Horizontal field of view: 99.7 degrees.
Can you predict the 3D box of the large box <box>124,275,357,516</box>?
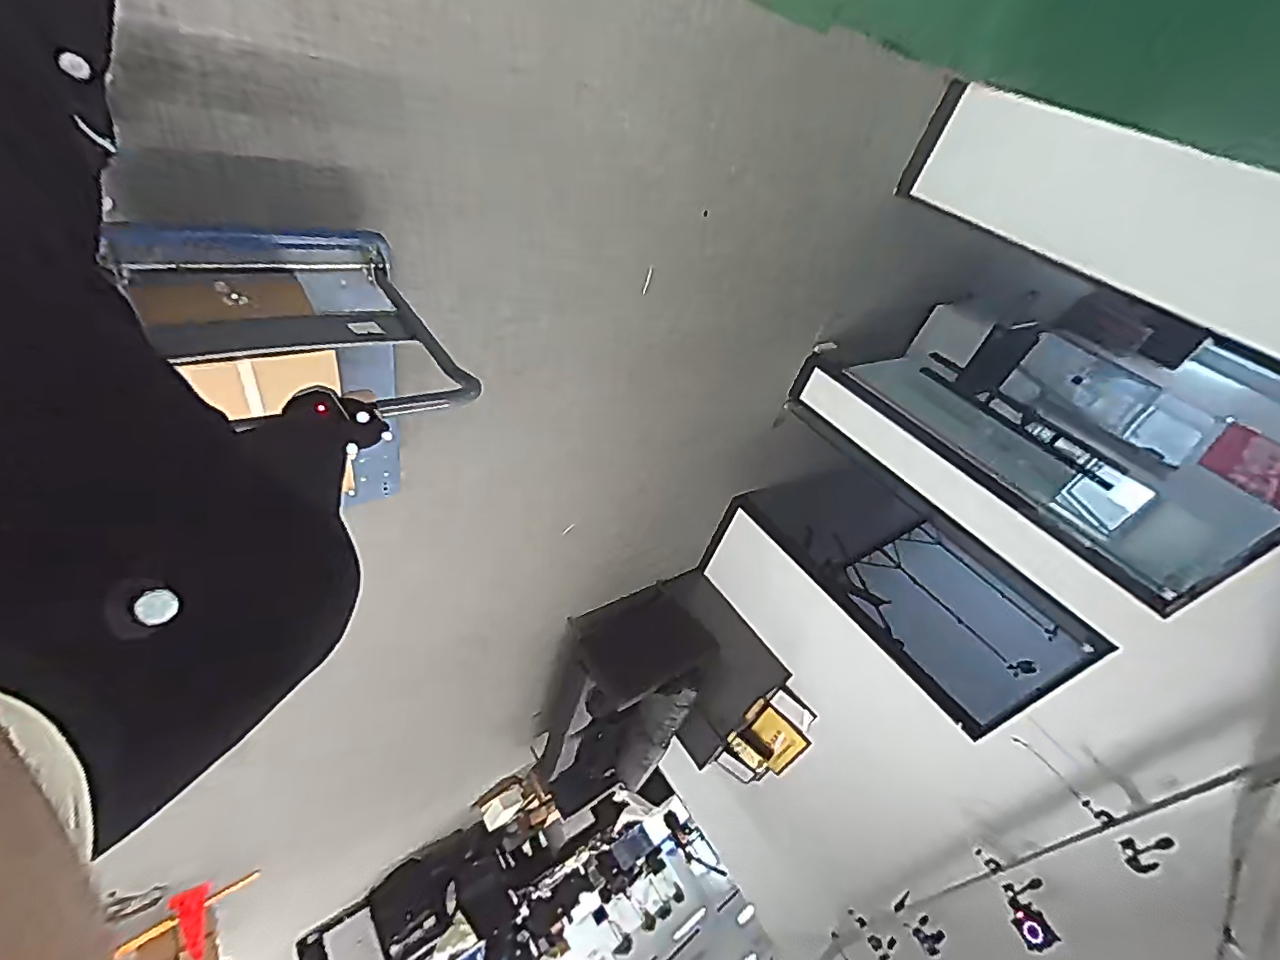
[{"bbox_3d":[-0.868,-0.196,1.211,0.320,0.320,0.408,-17,142,-34],"label":"large box"}]
